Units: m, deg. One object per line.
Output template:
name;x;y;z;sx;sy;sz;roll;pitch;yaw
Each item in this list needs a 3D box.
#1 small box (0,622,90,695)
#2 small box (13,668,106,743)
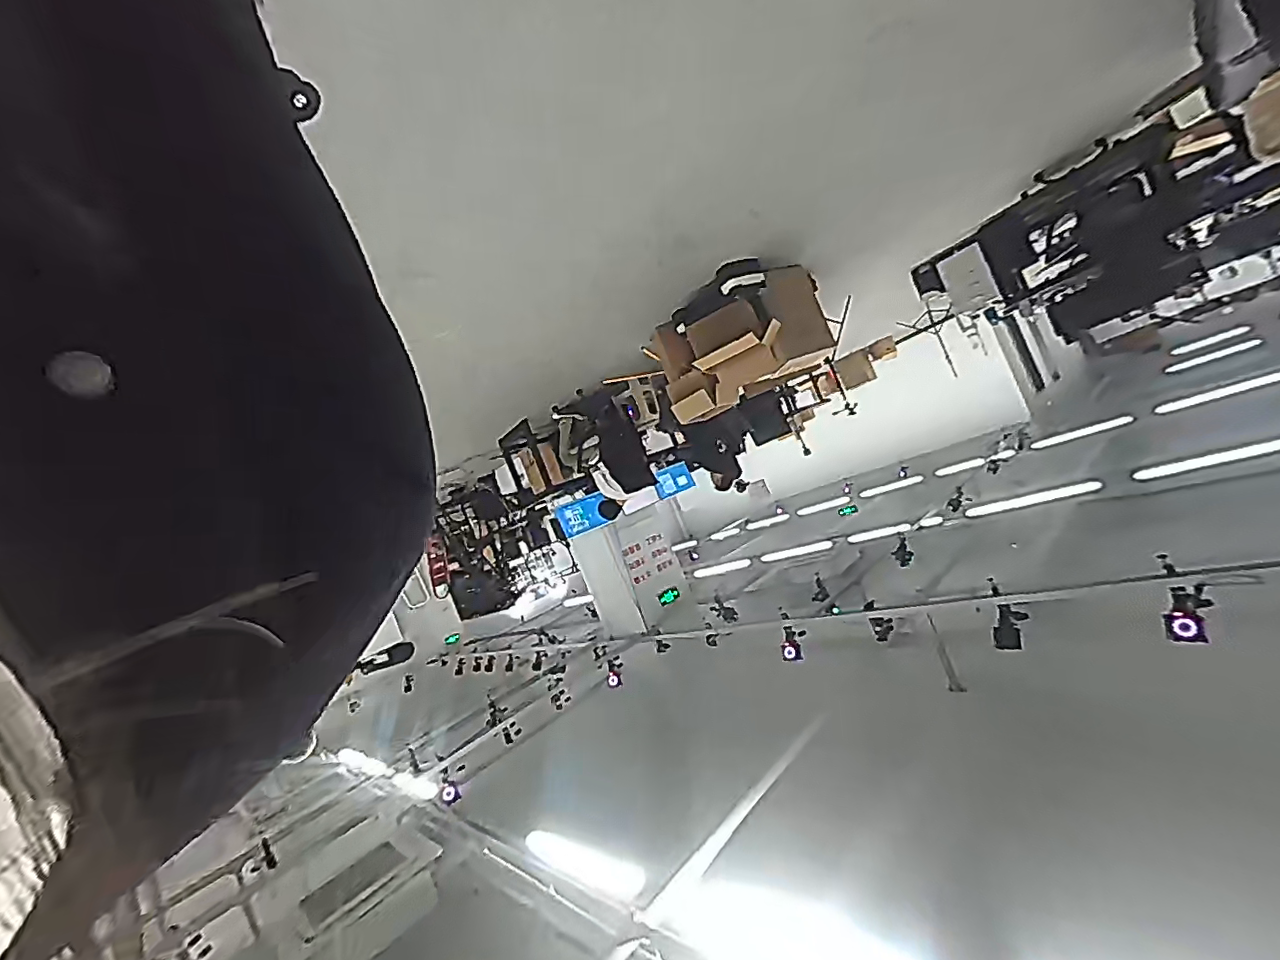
small box;-1.941;0.576;1.756;0.179;0.176;0.168;-19;175;-44
small box;-1.872;0.725;1.749;0.168;0.176;0.179;-20;175;-44
